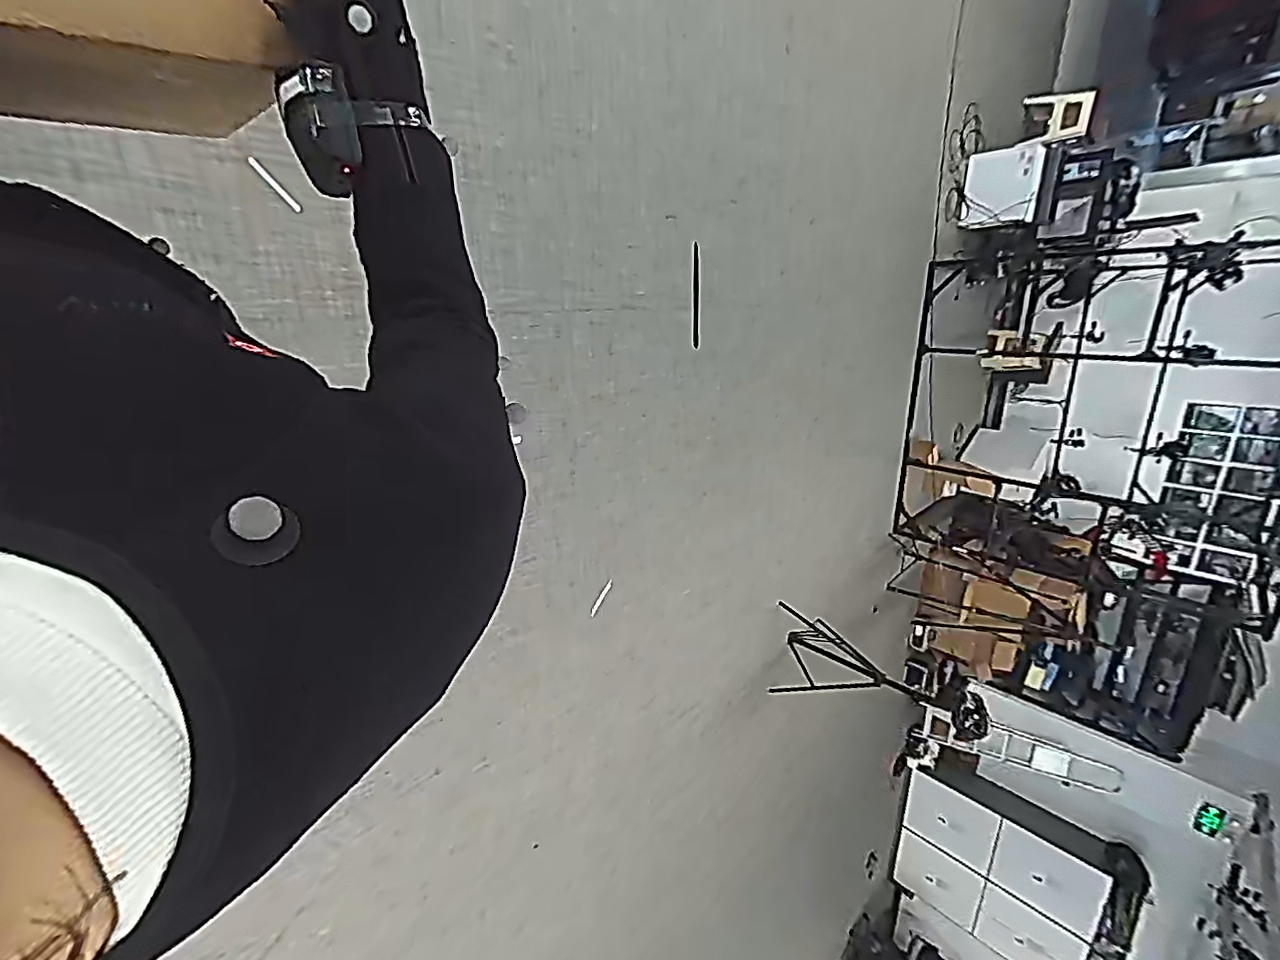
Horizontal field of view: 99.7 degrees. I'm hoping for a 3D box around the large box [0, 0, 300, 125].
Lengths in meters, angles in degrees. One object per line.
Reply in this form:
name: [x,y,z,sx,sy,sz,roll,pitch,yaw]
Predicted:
large box: [-0.472,-0.399,0.269,0.408,0.320,0.320,-22,123,-40]
